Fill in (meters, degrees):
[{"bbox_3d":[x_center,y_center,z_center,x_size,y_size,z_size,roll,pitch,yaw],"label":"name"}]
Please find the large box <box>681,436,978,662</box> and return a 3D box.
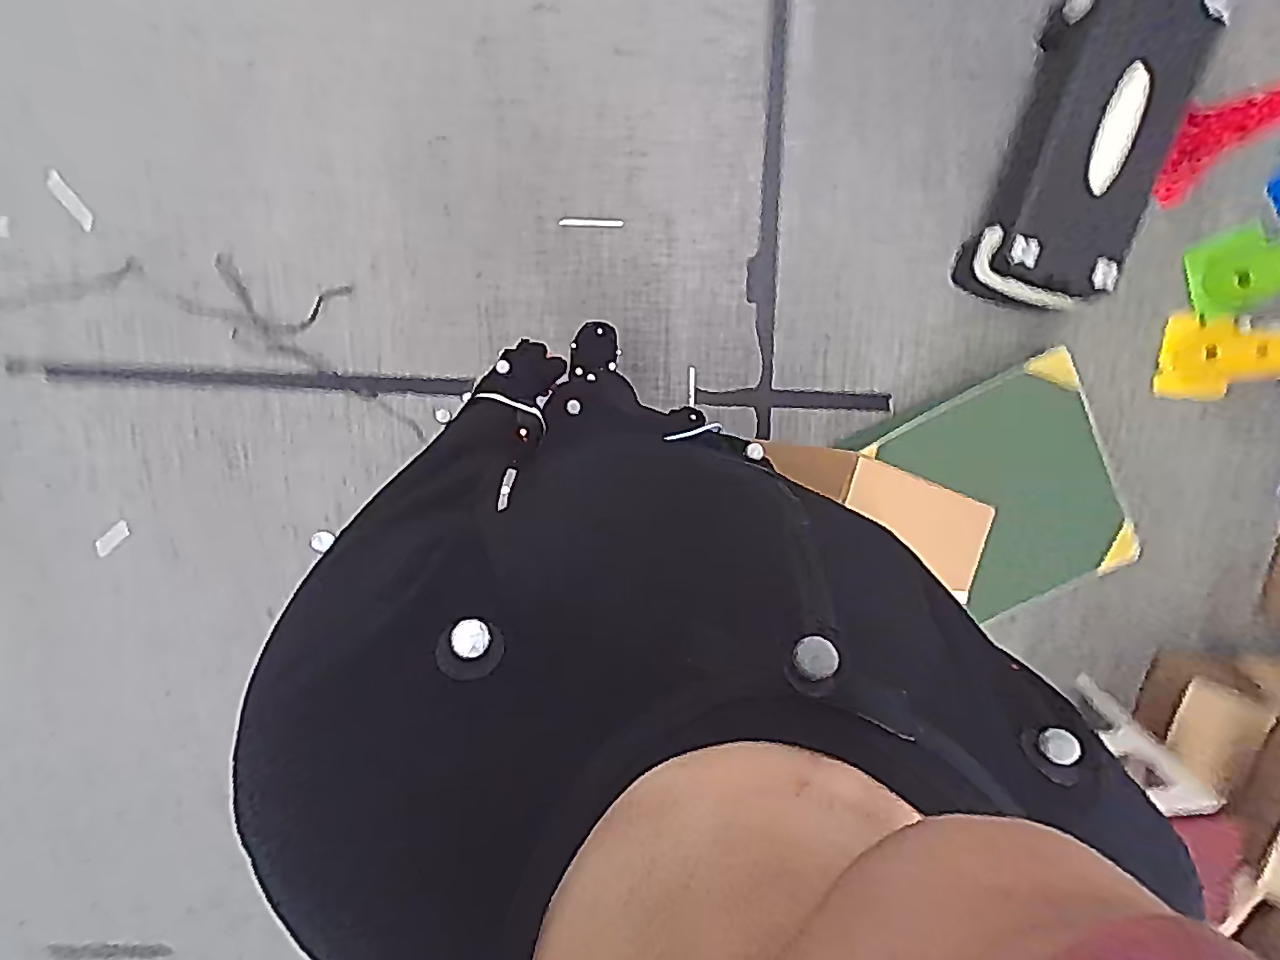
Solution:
[{"bbox_3d":[0.332,0.110,1.036,0.320,0.408,0.320,17,92,-21],"label":"large box"}]
